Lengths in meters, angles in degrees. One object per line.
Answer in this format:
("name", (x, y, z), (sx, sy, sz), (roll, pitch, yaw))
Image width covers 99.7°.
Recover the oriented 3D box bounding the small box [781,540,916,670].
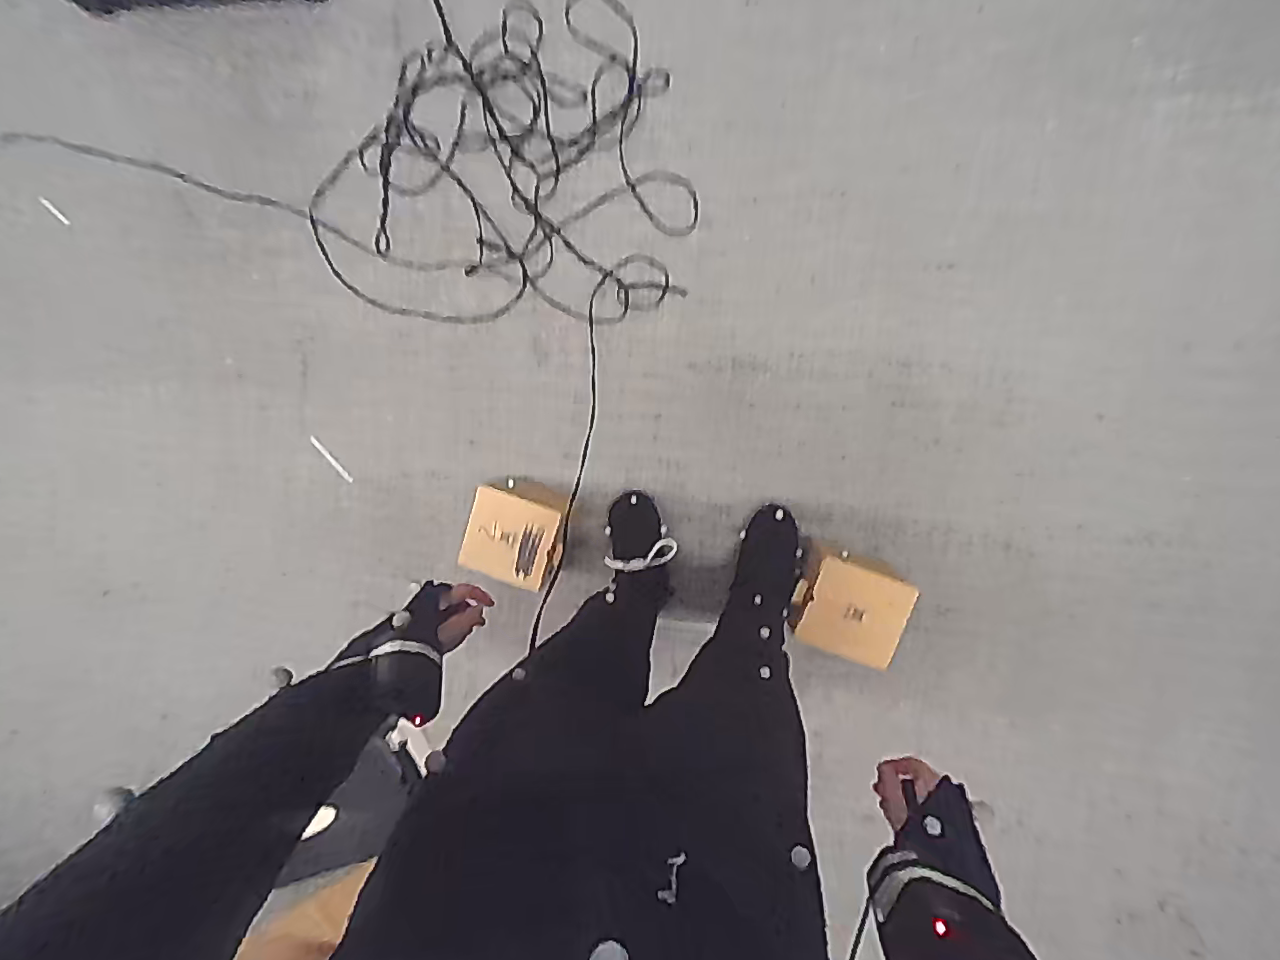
("small box", (0.390, 0.230, 1.045), (0.179, 0.176, 0.168), (19, 99, 5))
